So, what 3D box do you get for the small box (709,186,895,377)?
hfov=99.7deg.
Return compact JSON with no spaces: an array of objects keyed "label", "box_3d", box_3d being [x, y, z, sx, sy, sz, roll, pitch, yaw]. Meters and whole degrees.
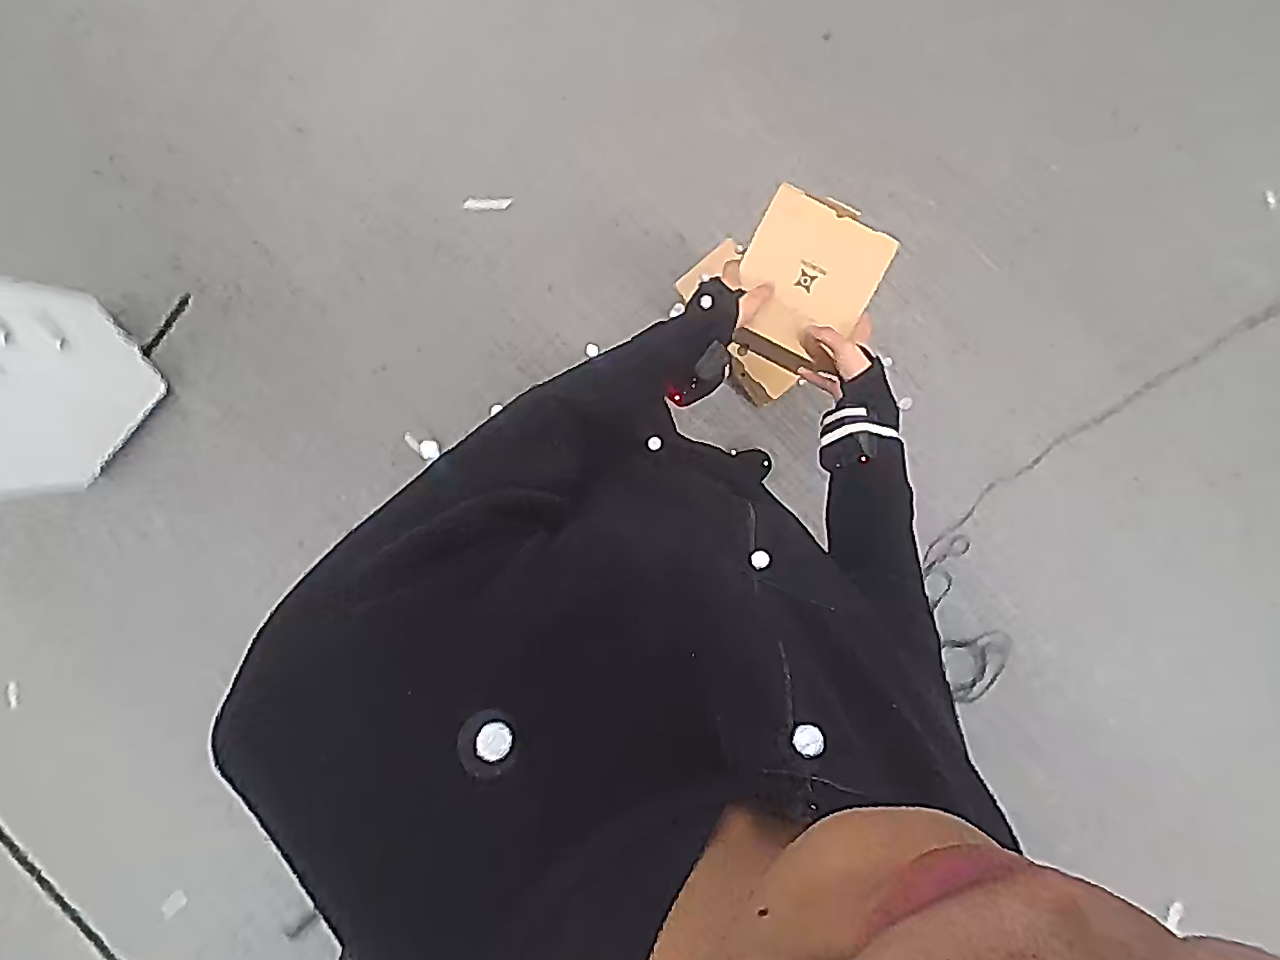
[{"label":"small box","box_3d":[0.206,-0.257,0.748,0.168,0.176,0.179,26,98,-2]}]
